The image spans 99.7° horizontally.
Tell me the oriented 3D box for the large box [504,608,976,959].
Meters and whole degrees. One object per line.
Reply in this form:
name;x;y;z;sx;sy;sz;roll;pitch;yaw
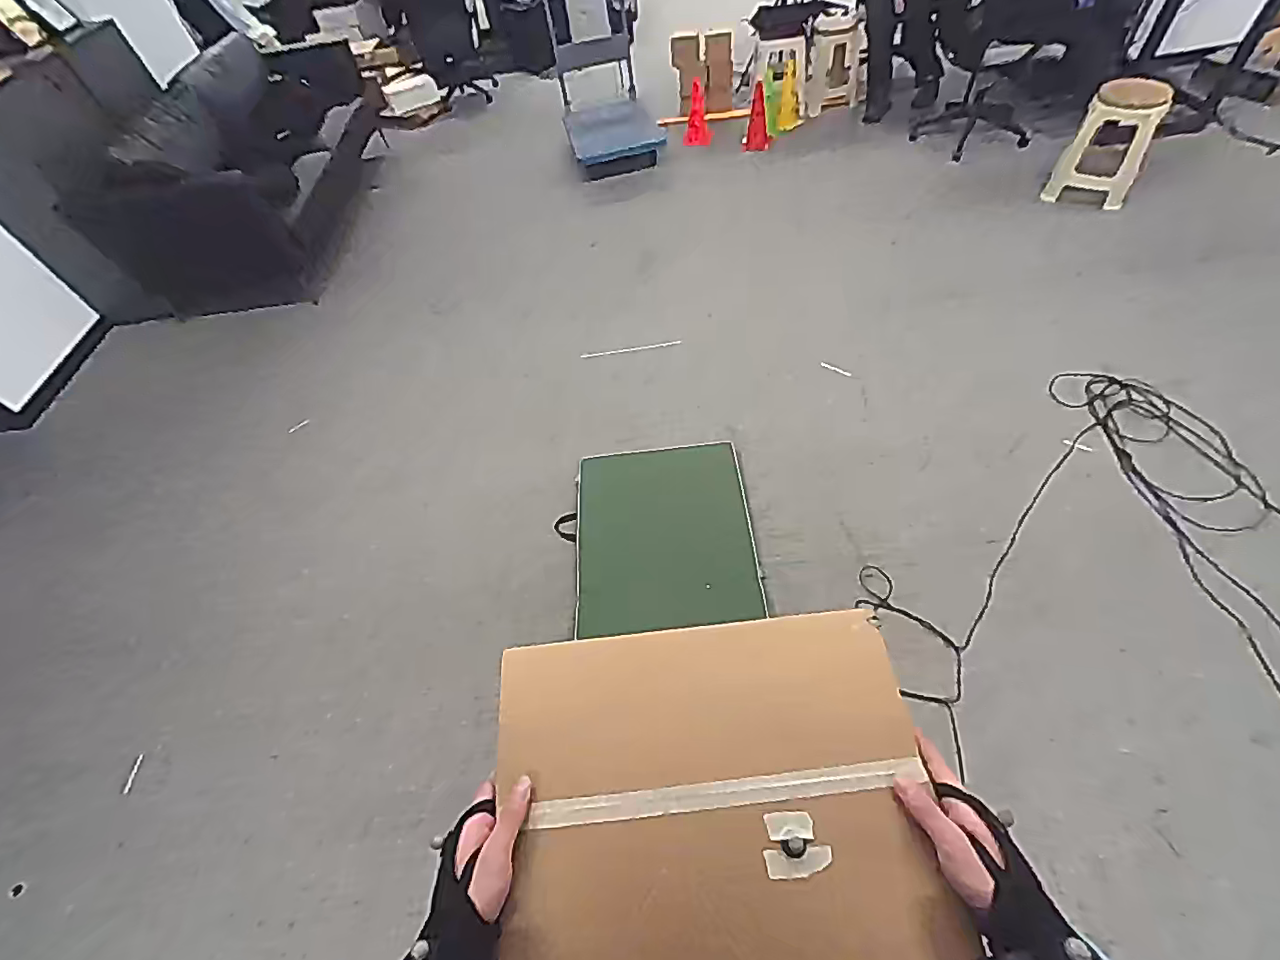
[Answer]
large box;0.074;0.374;0.647;0.408;0.320;0.320;-7;59;-1
